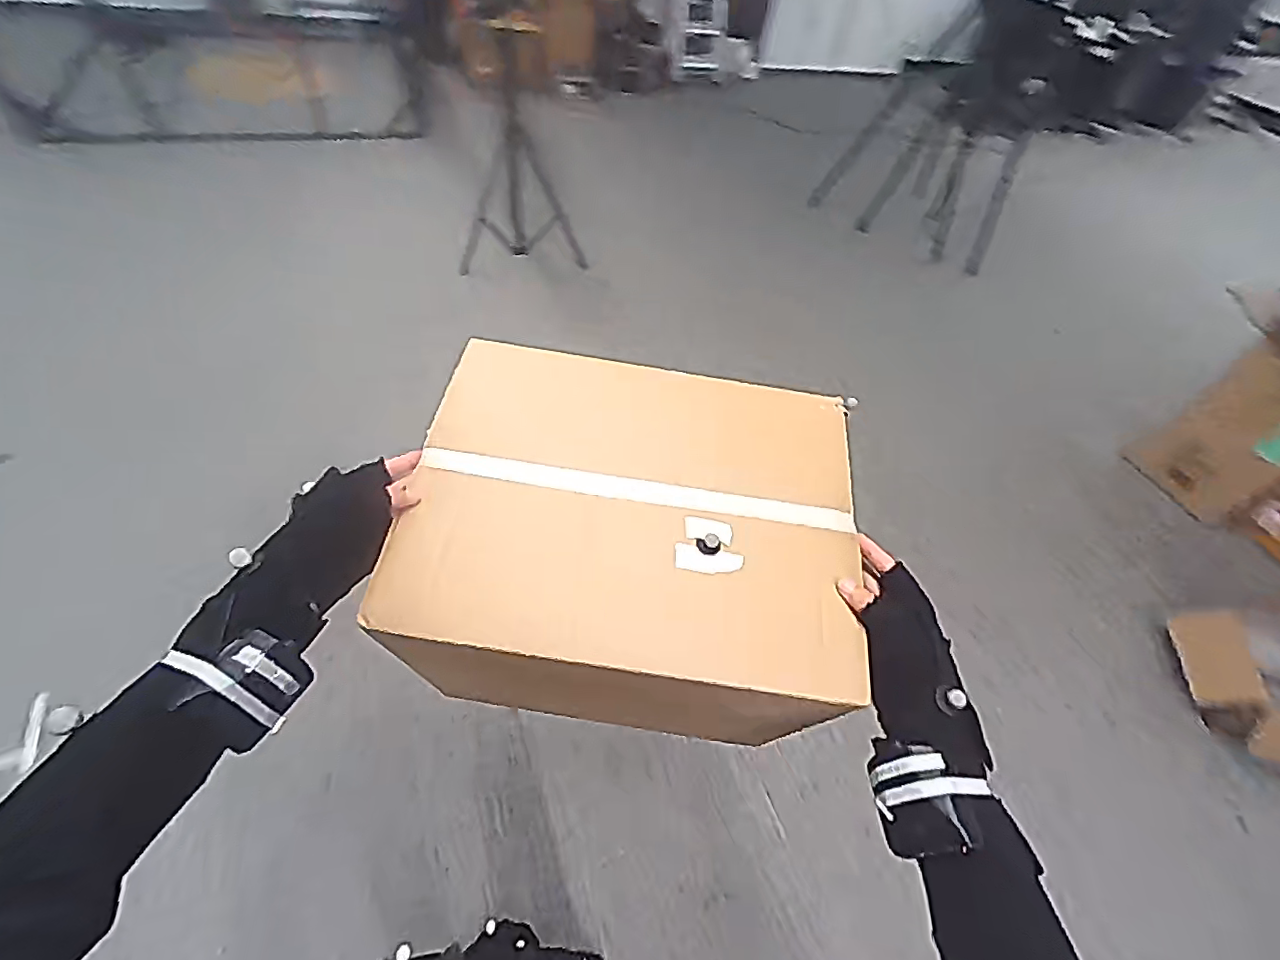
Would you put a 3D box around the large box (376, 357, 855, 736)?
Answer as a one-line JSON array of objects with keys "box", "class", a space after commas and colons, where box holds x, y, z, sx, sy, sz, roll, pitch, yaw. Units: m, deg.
[{"box": [-0.019, 0.097, 0.642, 0.408, 0.320, 0.320, 9, 59, -1], "class": "large box"}]
